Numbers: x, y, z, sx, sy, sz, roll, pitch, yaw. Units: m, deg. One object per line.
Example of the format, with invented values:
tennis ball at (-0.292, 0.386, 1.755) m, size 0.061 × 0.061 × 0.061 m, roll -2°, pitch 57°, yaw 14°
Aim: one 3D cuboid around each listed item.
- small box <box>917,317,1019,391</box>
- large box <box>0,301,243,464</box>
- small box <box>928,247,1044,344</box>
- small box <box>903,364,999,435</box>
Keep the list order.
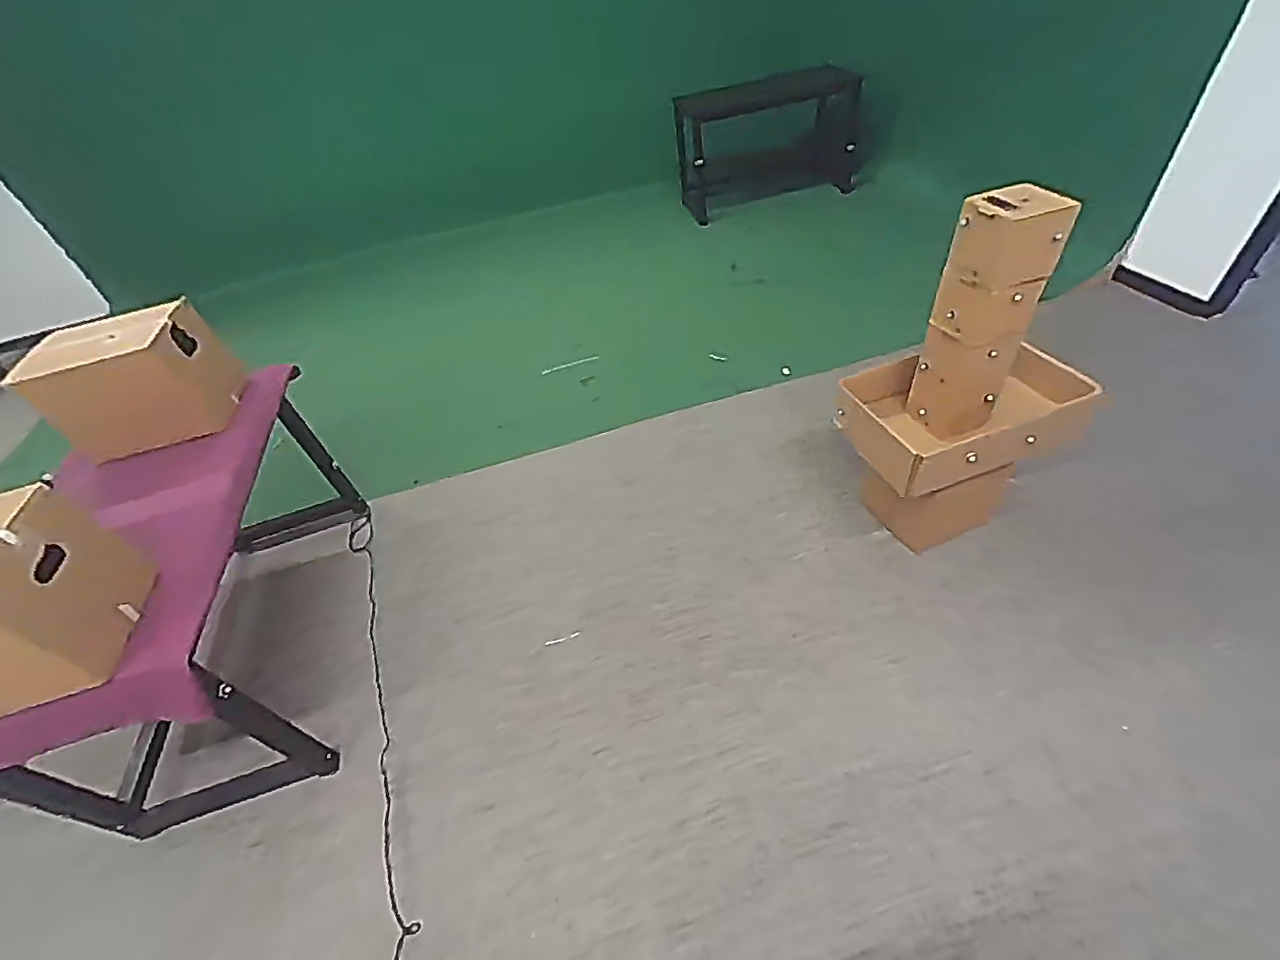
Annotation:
small box at (0.934, -0.382, 1.562) m, size 0.179 × 0.176 × 0.168 m, roll -18°, pitch 46°, yaw -10°
large box at (-1.559, -0.301, 1.671) m, size 0.408 × 0.320 × 0.320 m, roll -16°, pitch 46°, yaw -5°
small box at (0.912, -0.492, 1.445) m, size 0.179 × 0.176 × 0.168 m, roll -20°, pitch 46°, yaw -9°
small box at (0.954, -0.267, 1.677) m, size 0.179 × 0.176 × 0.168 m, roll -18°, pitch 45°, yaw -8°
